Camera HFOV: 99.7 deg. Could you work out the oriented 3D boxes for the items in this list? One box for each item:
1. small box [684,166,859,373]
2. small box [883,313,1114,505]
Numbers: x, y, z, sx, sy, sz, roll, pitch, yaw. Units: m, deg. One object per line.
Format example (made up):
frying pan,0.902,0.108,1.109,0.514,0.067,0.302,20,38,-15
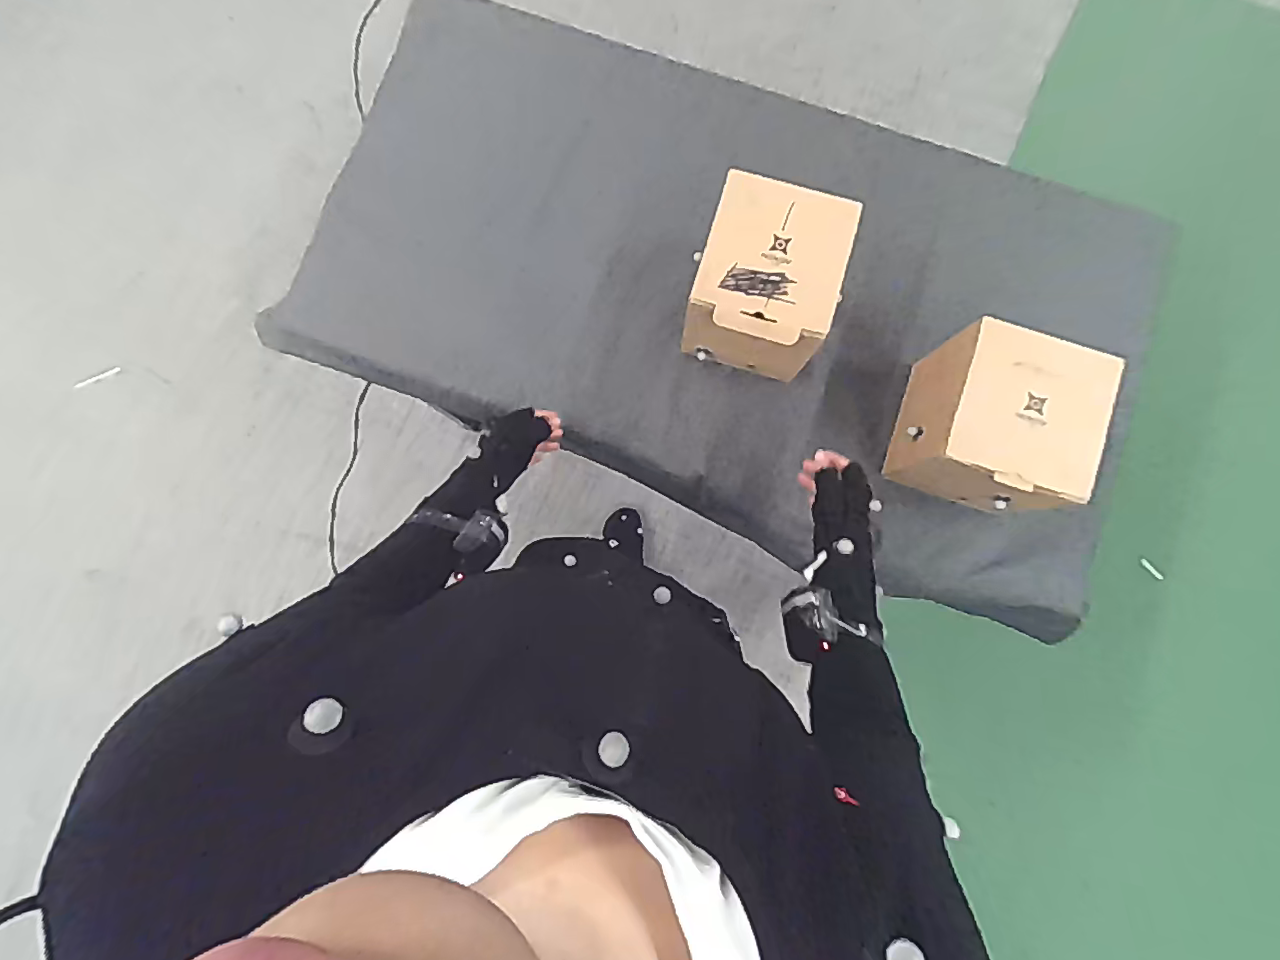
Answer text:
small box,0.158,-0.261,0.712,0.168,0.176,0.179,17,83,3
small box,0.436,-0.076,0.687,0.168,0.176,0.179,19,82,2
